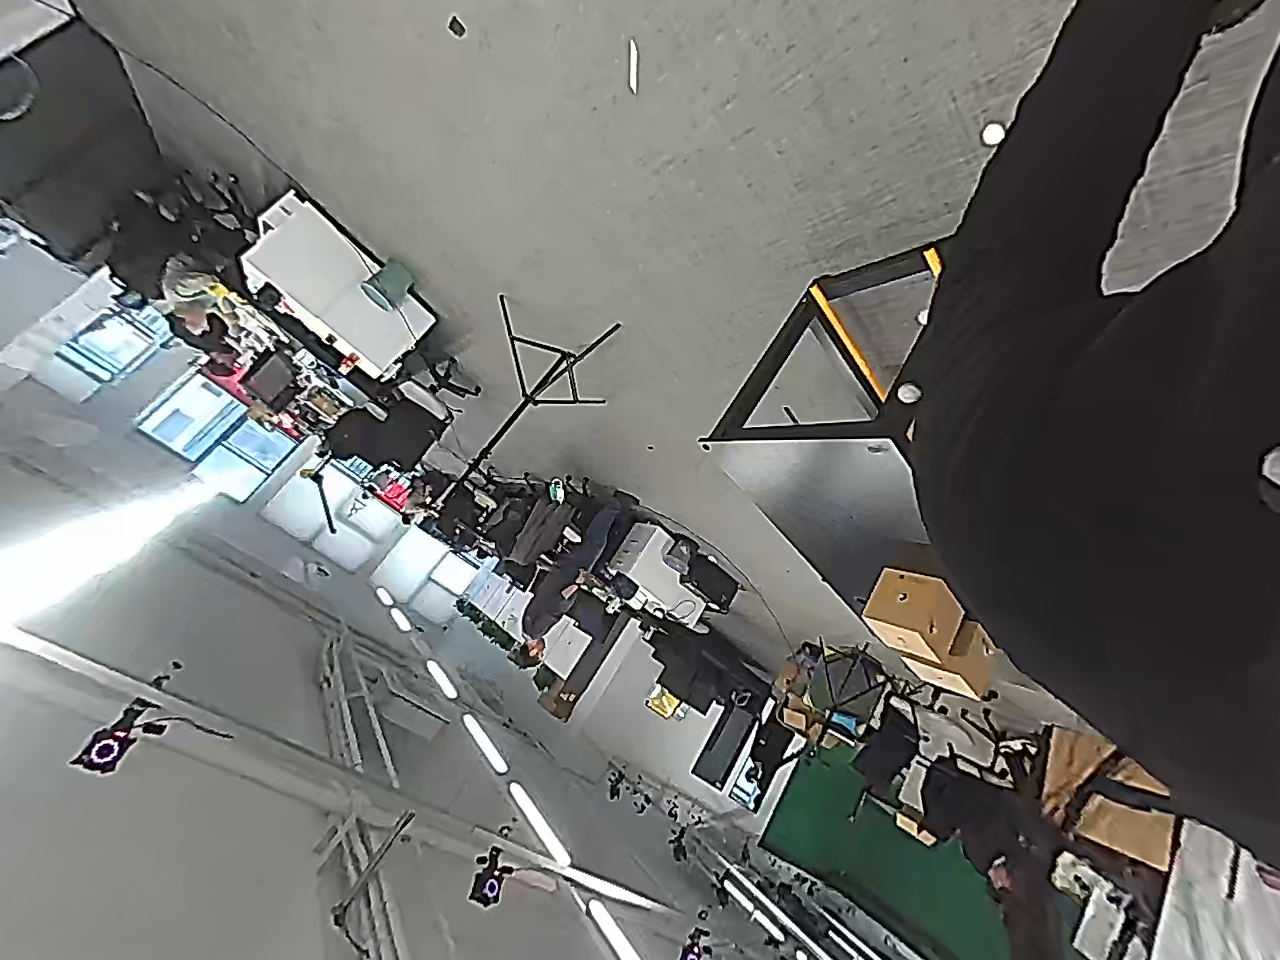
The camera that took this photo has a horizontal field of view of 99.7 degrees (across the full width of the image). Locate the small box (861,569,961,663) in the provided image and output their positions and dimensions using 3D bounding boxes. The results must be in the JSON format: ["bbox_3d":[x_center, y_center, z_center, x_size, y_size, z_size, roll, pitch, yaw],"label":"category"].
[{"bbox_3d":[0.753,0.369,1.498,0.179,0.176,0.168,44,160,-28],"label":"small box"}]

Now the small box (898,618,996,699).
[{"bbox_3d":[0.903,0.503,1.587,0.168,0.176,0.179,42,160,-27],"label":"small box"}]
